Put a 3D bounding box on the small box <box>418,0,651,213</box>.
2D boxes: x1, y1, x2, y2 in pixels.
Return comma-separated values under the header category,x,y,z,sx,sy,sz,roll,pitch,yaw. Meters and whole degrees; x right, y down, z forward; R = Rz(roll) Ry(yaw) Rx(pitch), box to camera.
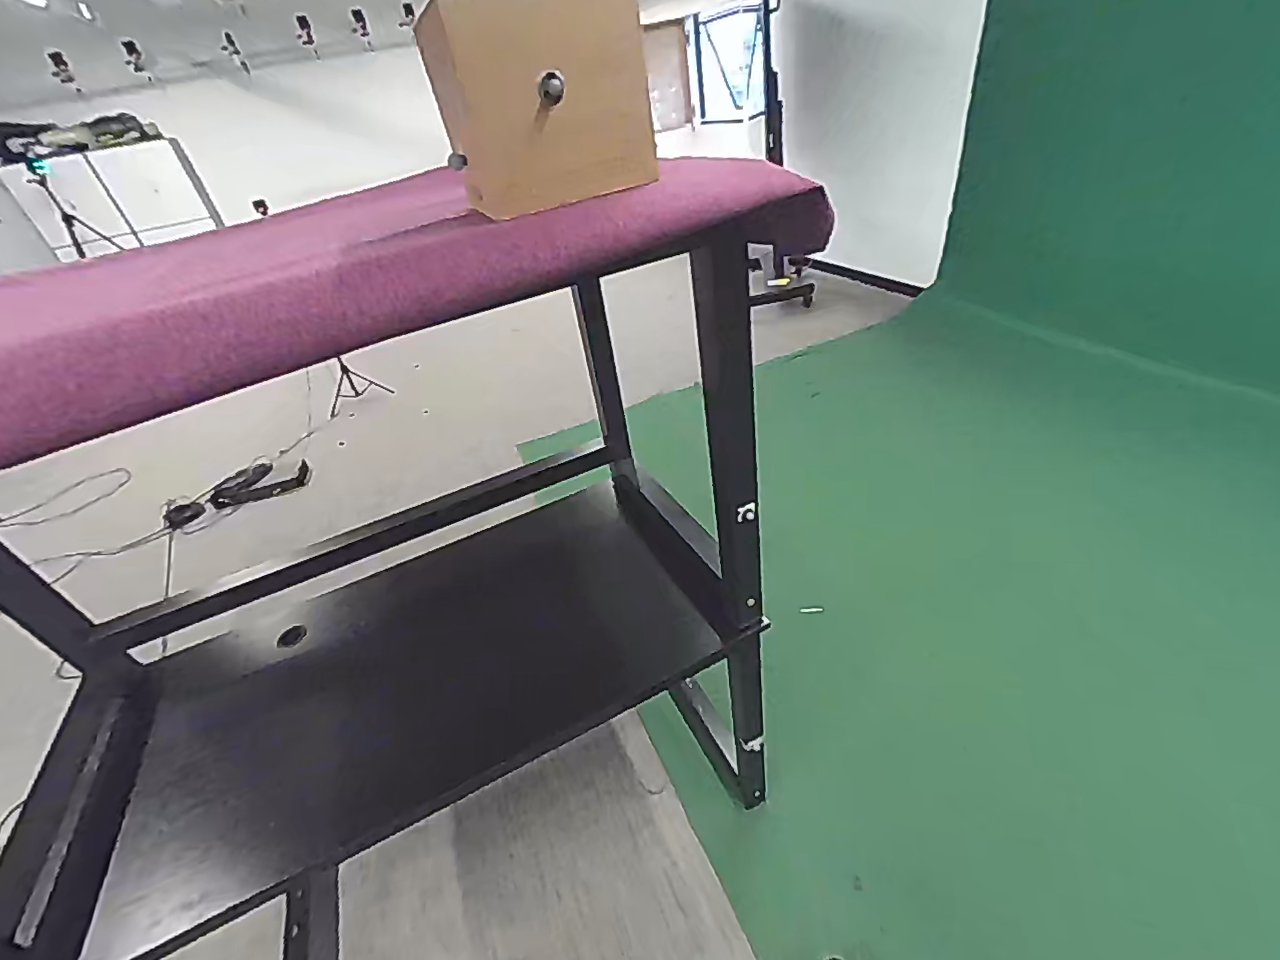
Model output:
category,x,y,z,sx,sy,sz,roll,pitch,yaw
small box,-0.098,-0.387,0.542,0.179,0.176,0.168,-22,38,-13
